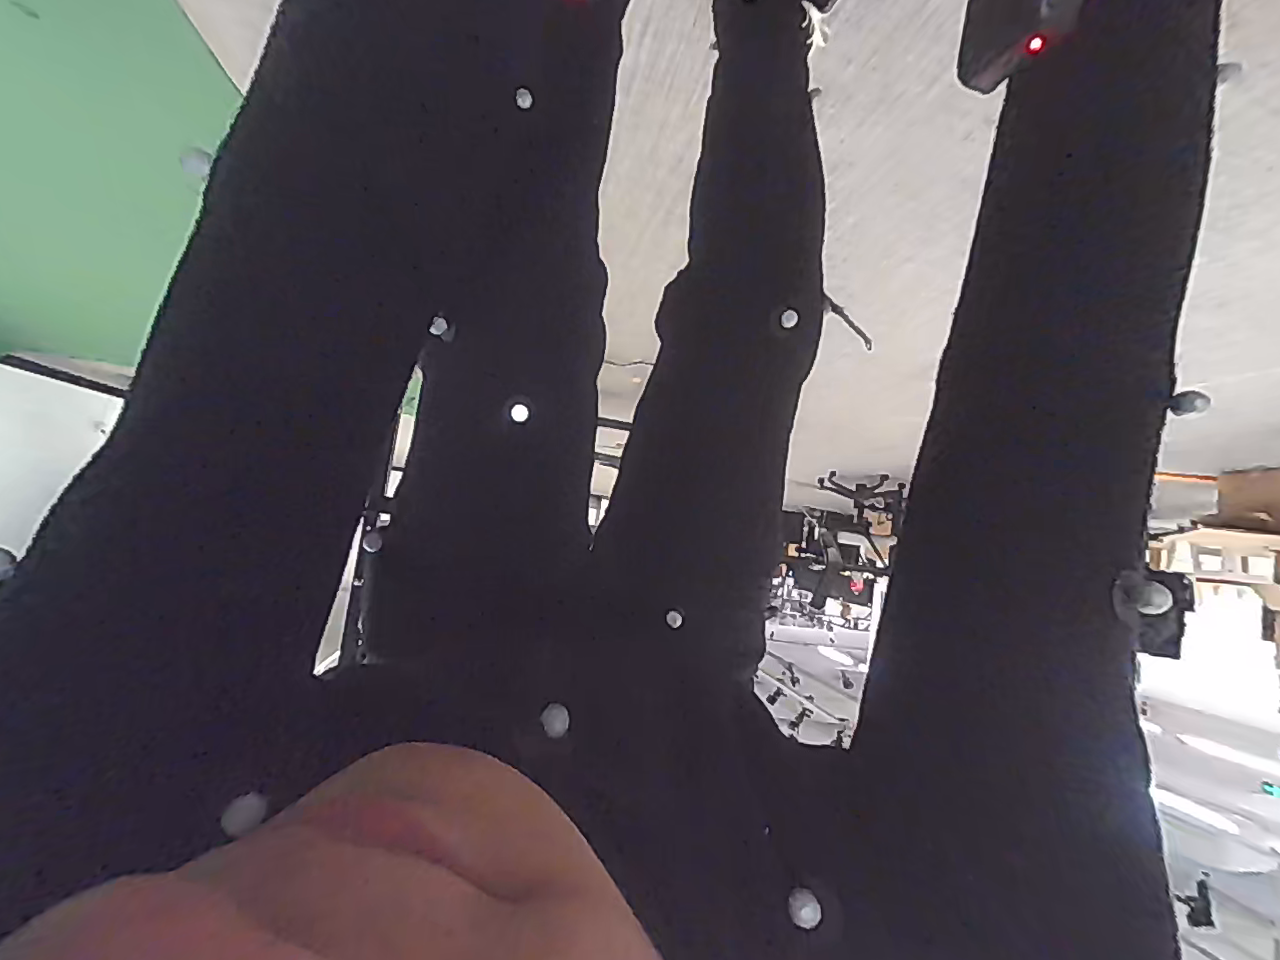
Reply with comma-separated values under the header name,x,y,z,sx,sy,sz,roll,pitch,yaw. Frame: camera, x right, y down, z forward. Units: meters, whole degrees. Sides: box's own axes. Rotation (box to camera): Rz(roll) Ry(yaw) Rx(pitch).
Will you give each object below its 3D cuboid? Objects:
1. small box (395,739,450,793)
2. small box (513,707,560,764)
name,x,y,z,sx,sy,sz,roll,pitch,yaw
small box,-0.896,1.171,2.242,0.179,0.176,0.168,9,174,-11
small box,-0.435,1.077,2.291,0.179,0.176,0.168,9,174,-7
